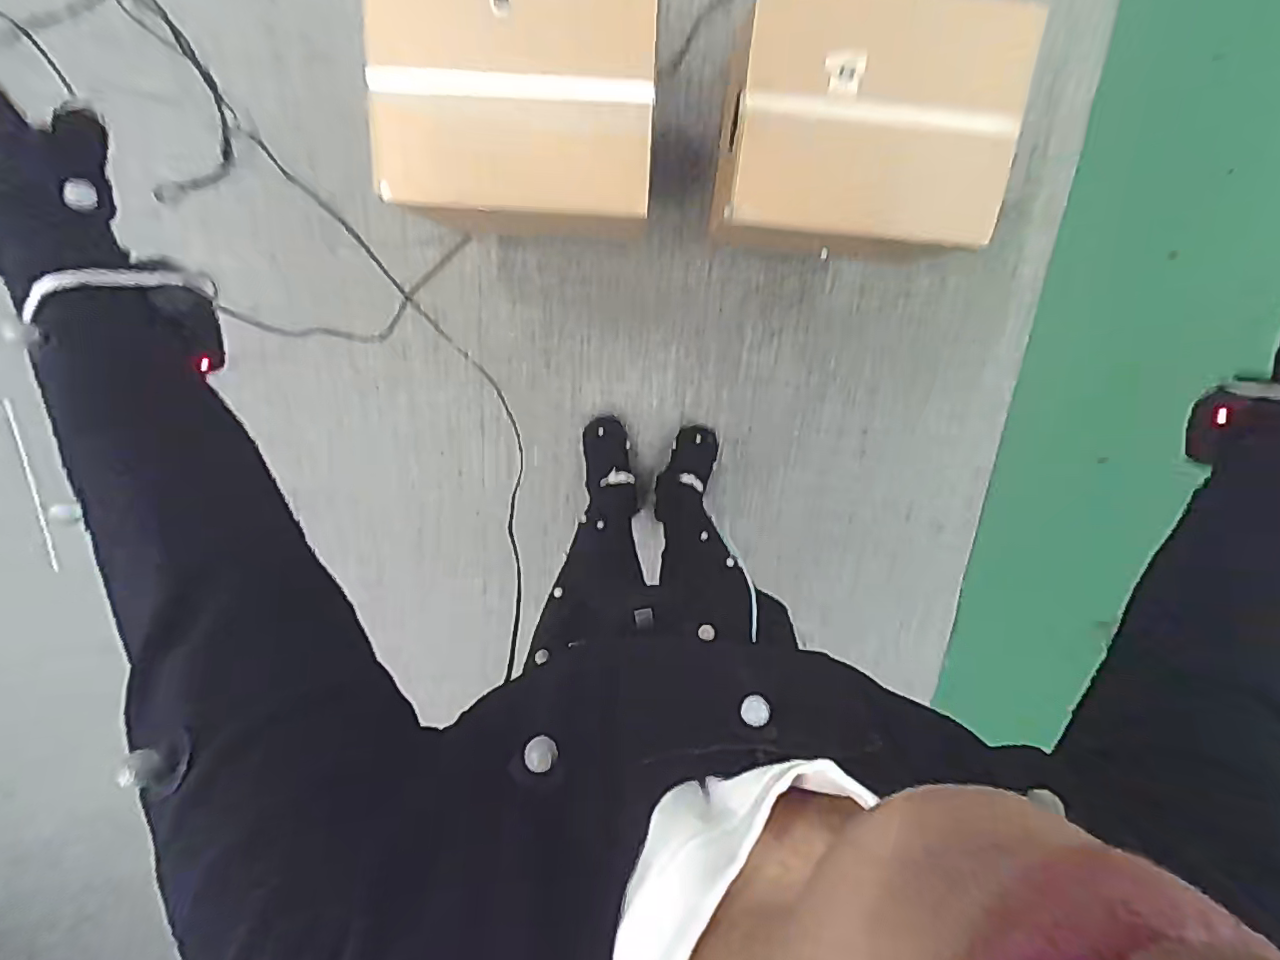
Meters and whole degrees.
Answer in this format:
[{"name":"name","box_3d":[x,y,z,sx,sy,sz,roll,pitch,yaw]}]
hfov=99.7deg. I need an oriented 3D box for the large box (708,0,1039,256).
[{"name":"large box","box_3d":[0.349,-0.575,0.933,0.408,0.320,0.320,5,107,-1]}]
